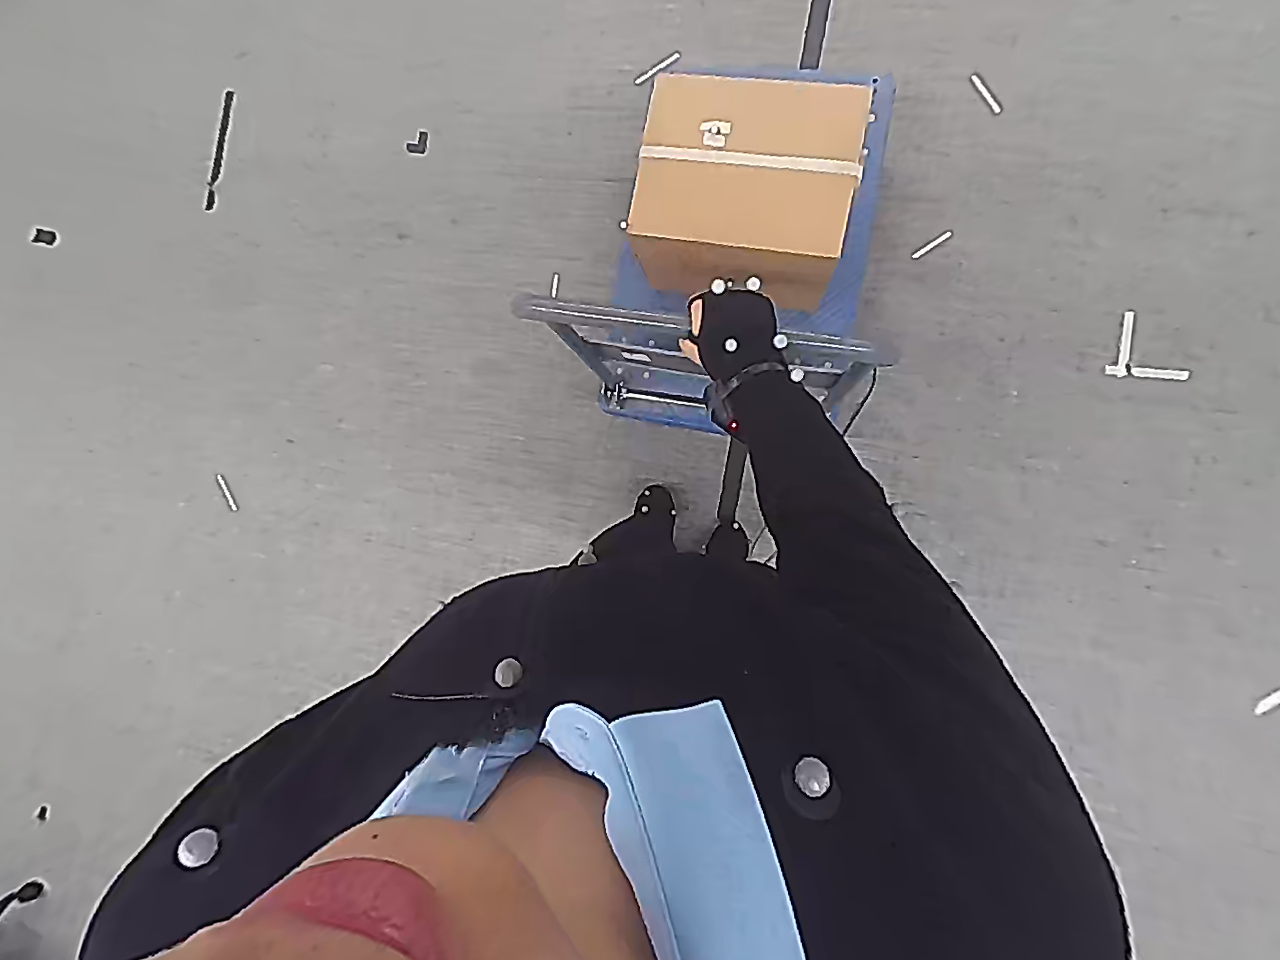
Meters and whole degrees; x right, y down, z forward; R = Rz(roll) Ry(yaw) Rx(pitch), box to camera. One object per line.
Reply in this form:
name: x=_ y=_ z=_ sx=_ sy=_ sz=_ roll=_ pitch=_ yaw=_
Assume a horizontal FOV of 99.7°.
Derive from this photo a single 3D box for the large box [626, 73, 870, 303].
large box: x=0.221 y=-0.589 z=1.137 sx=0.408 sy=0.320 sz=0.320 roll=11 pitch=90 yaw=12
